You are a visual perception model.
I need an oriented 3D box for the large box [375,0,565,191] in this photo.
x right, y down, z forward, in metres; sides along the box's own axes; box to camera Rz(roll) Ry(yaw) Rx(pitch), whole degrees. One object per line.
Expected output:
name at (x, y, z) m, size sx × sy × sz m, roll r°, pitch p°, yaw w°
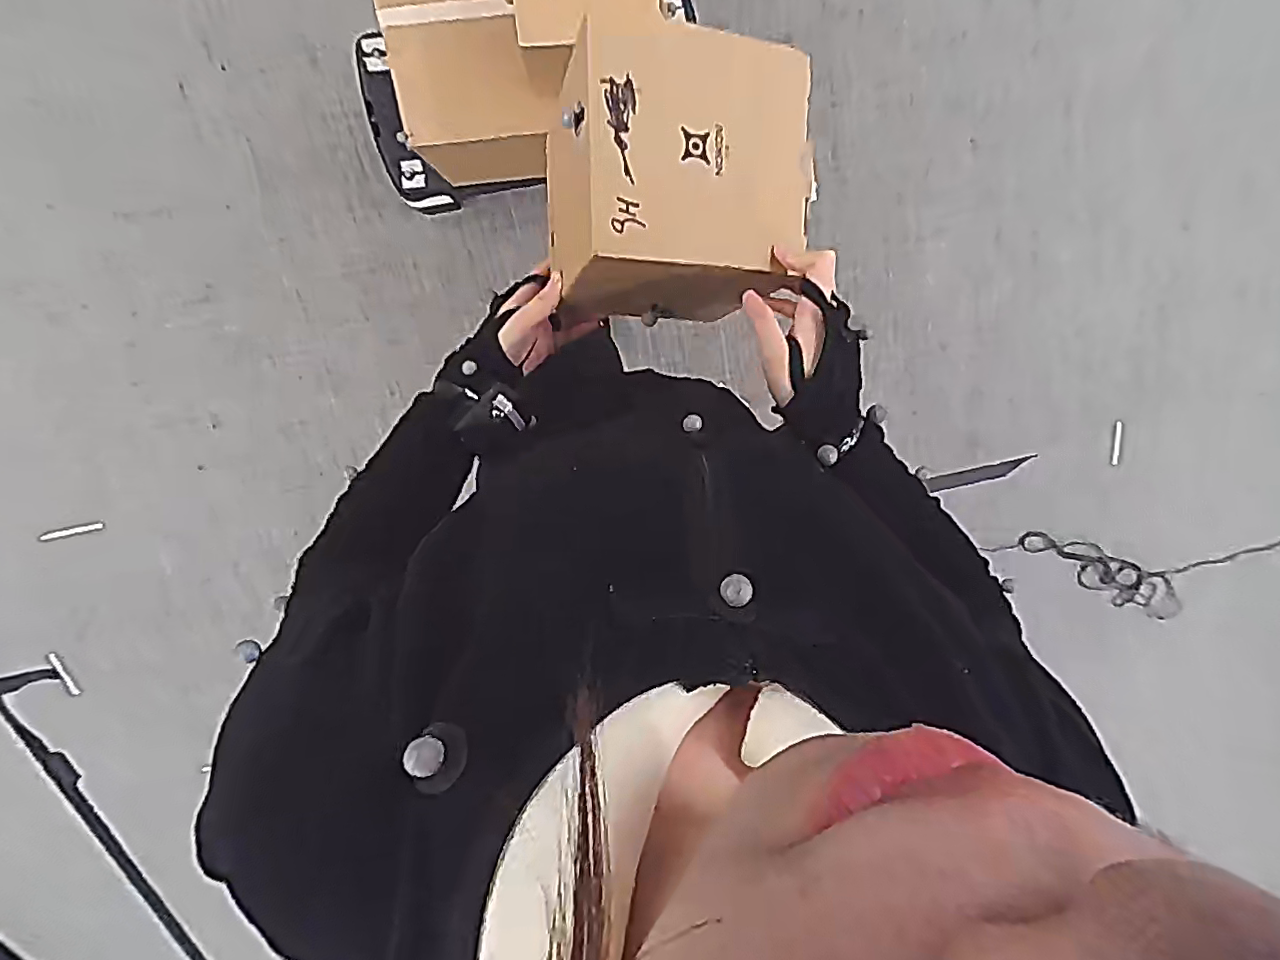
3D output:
large box at (-0.178, -0.703, 0.904) m, size 0.408 × 0.320 × 0.320 m, roll -9°, pitch 108°, yaw -3°

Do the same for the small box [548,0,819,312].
small box at (0.025, -0.245, 0.454) m, size 0.179 × 0.176 × 0.168 m, roll -2°, pitch 93°, yaw -19°

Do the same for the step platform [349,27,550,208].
step platform at (-0.222, -0.762, 1.132) m, size 0.684 × 0.204 × 0.286 m, roll -7°, pitch 109°, yaw -4°

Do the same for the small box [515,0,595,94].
small box at (-0.068, -0.615, 0.686) m, size 0.179 × 0.176 × 0.168 m, roll -5°, pitch 109°, yaw -4°
